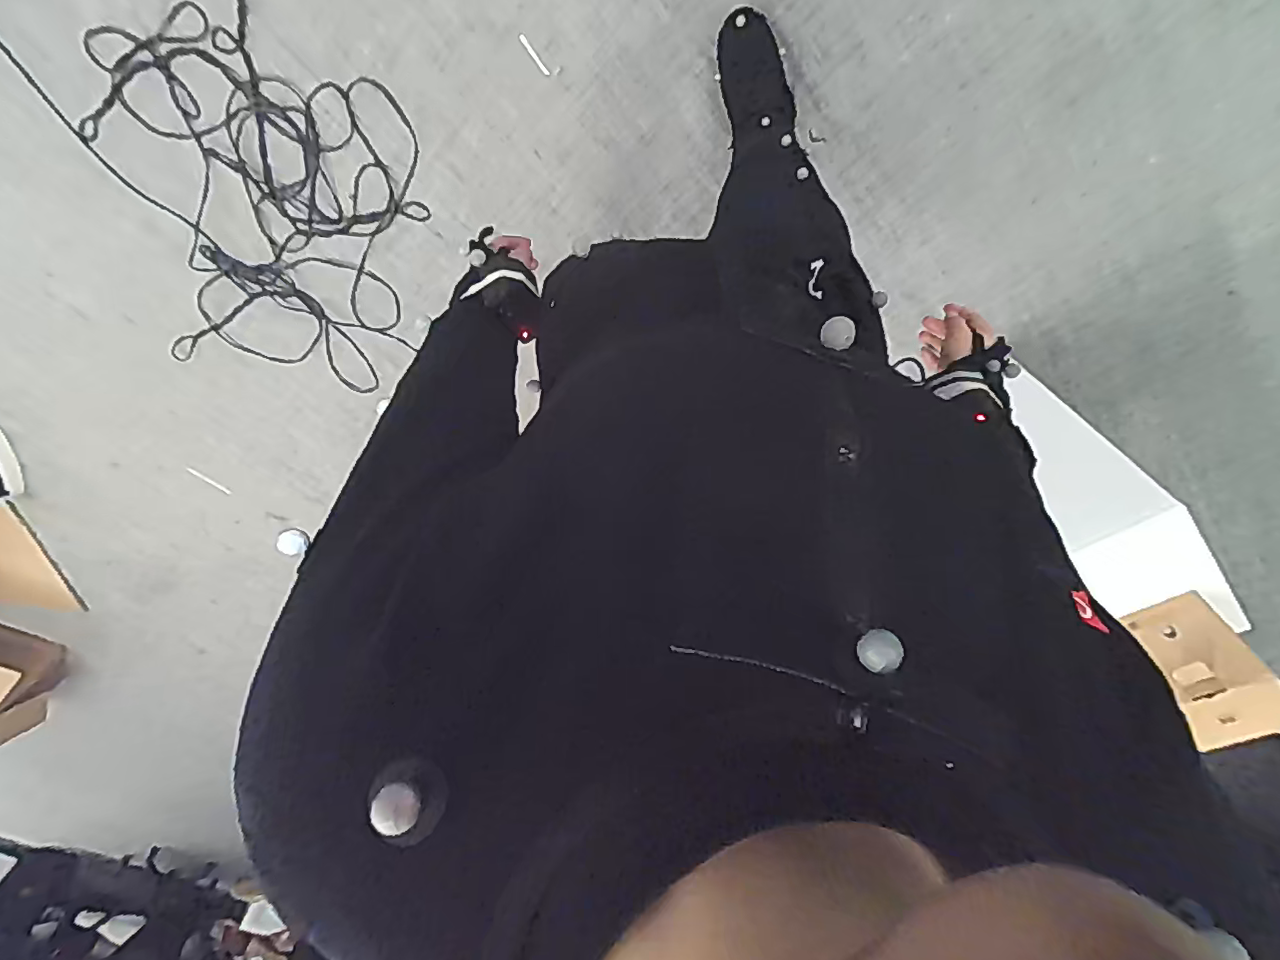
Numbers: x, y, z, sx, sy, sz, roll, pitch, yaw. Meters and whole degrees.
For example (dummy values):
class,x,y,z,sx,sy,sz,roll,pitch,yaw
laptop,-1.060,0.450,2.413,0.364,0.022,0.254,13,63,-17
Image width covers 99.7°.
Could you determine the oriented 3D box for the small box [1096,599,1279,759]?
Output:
class,x,y,z,sx,sy,sz,roll,pitch,yaw
small box,0.930,0.332,0.909,0.179,0.176,0.168,39,121,-21
